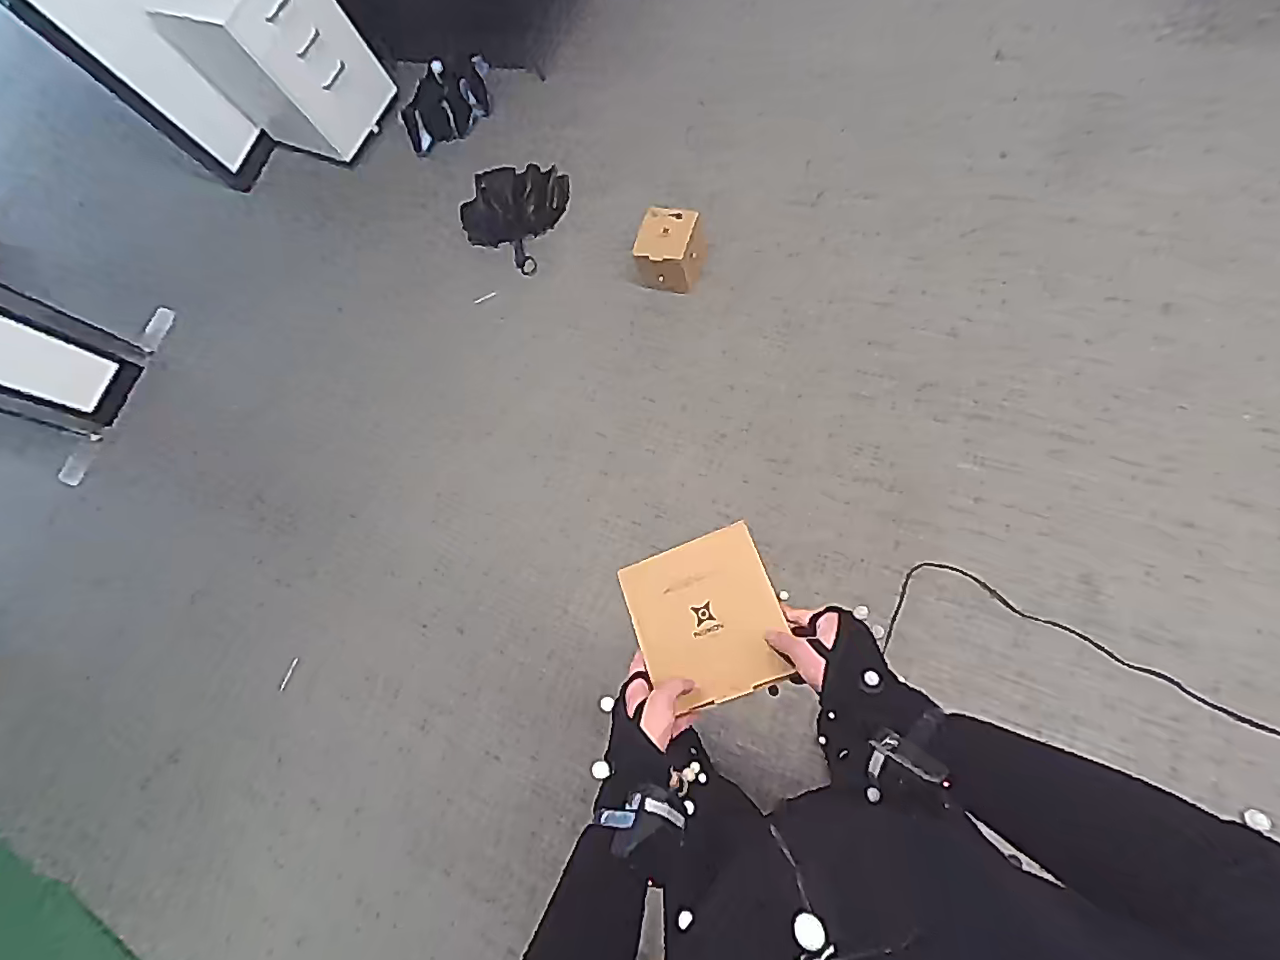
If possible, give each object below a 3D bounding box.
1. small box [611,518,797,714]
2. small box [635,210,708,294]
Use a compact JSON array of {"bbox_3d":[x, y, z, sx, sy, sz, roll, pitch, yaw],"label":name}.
[{"bbox_3d":[0.088,0.172,0.678,0.168,0.176,0.179,-23,66,9],"label":"small box"},{"bbox_3d":[0.107,-0.712,1.701,0.168,0.176,0.179,15,80,19],"label":"small box"}]
